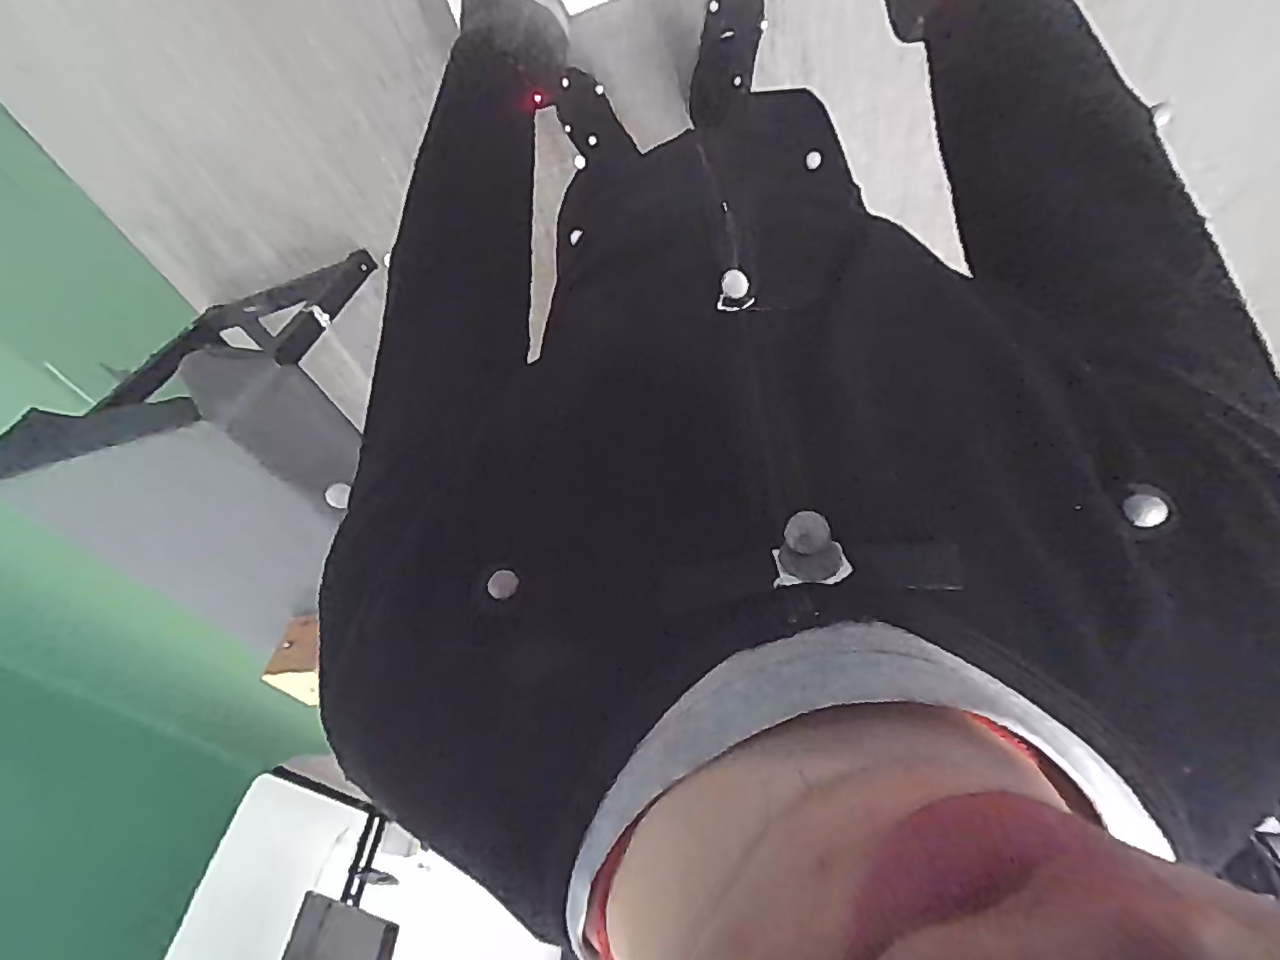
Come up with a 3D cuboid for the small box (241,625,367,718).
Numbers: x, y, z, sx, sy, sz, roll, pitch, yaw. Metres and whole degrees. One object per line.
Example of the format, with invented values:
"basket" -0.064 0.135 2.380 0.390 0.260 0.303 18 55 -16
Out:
"small box" -0.829 0.476 1.355 0.168 0.176 0.179 -10 135 13
